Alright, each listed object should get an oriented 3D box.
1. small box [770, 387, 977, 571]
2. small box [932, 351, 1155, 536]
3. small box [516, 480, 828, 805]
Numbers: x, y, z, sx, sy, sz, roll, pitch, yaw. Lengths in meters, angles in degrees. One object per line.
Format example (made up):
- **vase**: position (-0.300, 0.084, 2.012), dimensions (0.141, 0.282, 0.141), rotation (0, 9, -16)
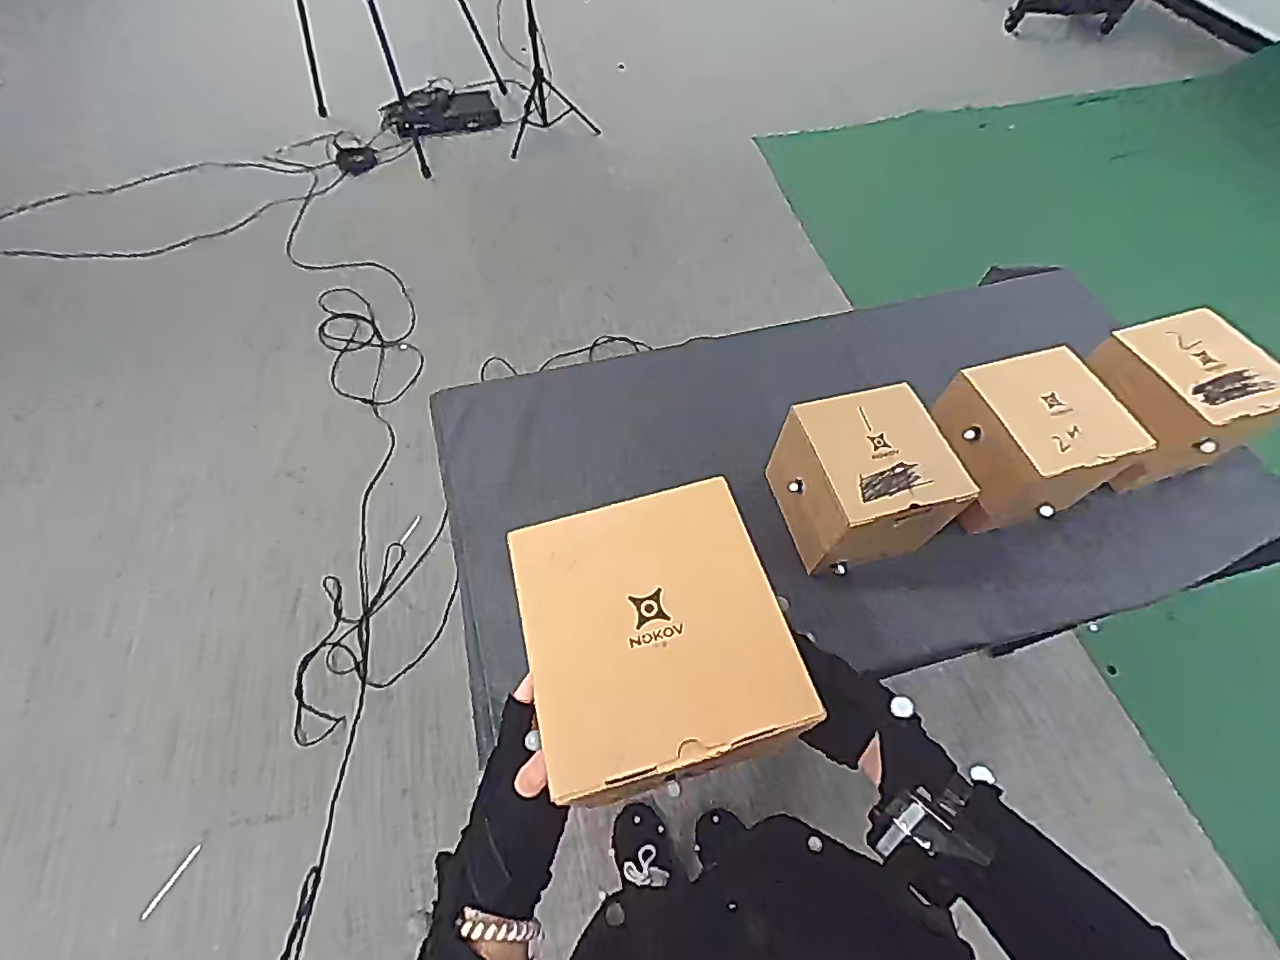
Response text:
- **small box**: position (0.292, 0.008, 0.722), dimensions (0.168, 0.176, 0.179), rotation (-12, 59, -7)
- **small box**: position (0.526, -0.048, 0.755), dimensions (0.168, 0.176, 0.179), rotation (-14, 60, -8)
- **small box**: position (0.012, 0.130, 0.418), dimensions (0.168, 0.176, 0.179), rotation (-15, 59, -7)
